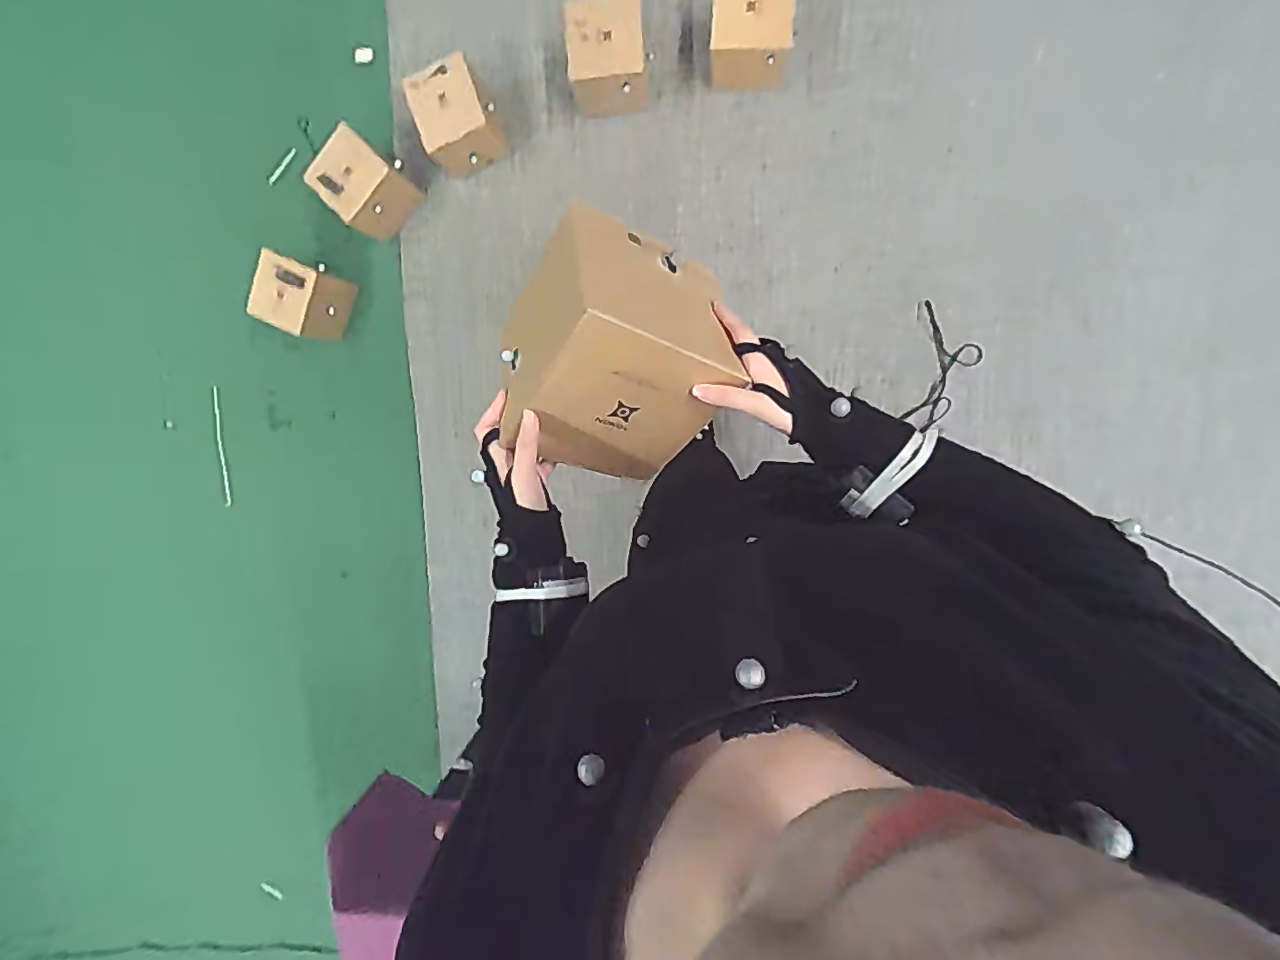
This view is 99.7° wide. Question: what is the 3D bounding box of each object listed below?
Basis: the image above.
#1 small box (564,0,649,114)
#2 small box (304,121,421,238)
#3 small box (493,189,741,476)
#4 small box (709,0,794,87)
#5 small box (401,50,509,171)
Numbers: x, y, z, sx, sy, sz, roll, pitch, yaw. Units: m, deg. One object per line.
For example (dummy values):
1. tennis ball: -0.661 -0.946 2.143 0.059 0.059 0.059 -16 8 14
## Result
1. small box: -0.071 -1.001 1.277 0.179 0.176 0.168 -2 98 8
2. small box: -0.712 -0.769 1.407 0.168 0.176 0.179 45 101 0
3. small box: -0.030 -0.134 0.529 0.168 0.176 0.179 16 139 -31
4. small box: 0.251 -1.027 1.229 0.179 0.176 0.168 4 99 7
5. small box: -0.451 -0.904 1.348 0.168 0.176 0.179 -18 96 11
